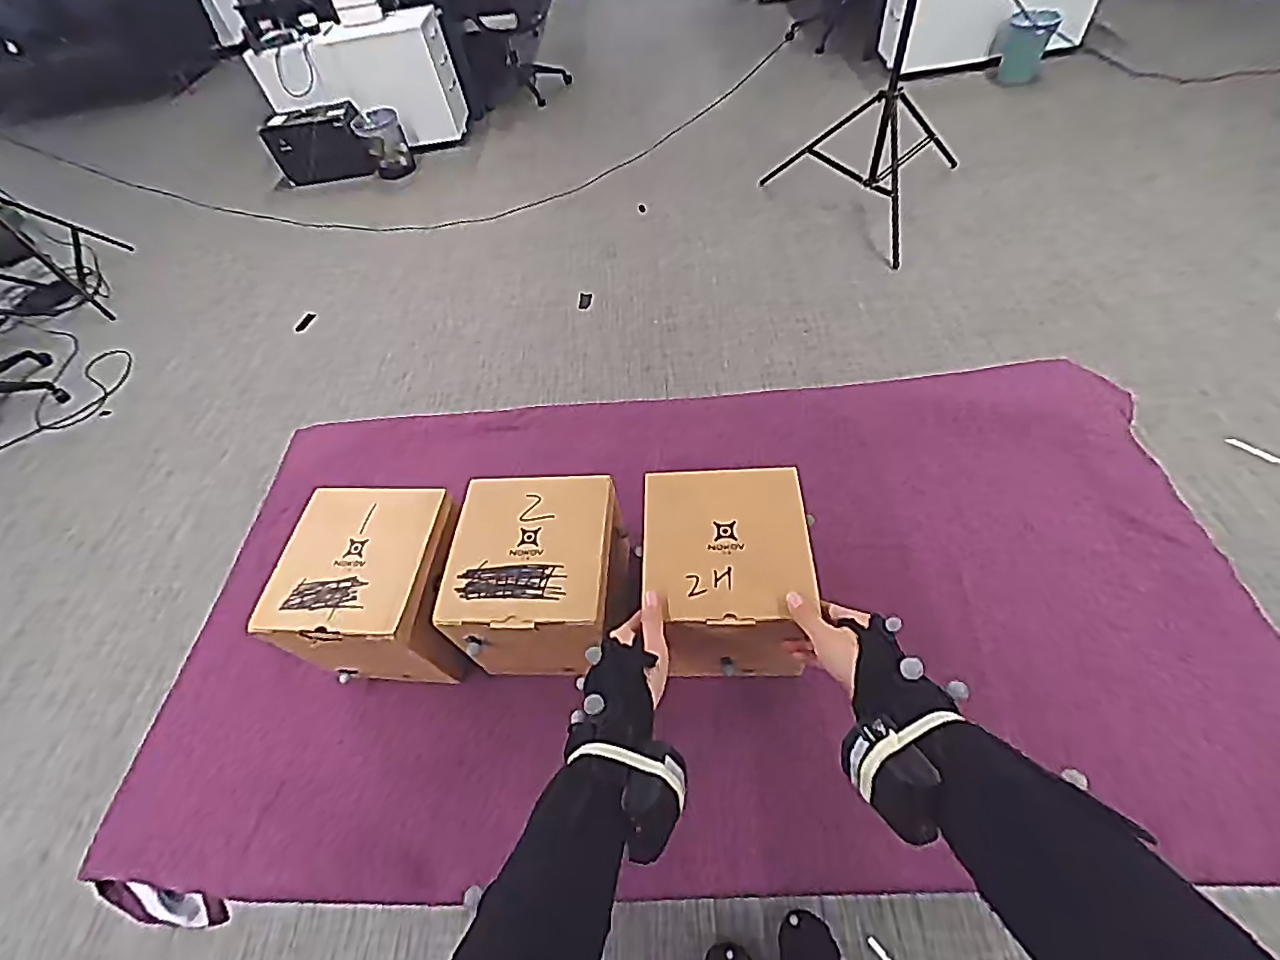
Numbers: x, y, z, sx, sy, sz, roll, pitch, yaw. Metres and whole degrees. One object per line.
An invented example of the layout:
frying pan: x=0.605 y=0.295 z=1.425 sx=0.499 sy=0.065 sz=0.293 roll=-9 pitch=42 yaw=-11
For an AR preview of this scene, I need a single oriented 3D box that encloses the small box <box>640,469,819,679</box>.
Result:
small box: x=0.093 y=0.108 z=0.606 sx=0.168 sy=0.176 sz=0.179 roll=-3 pitch=53 yaw=7
